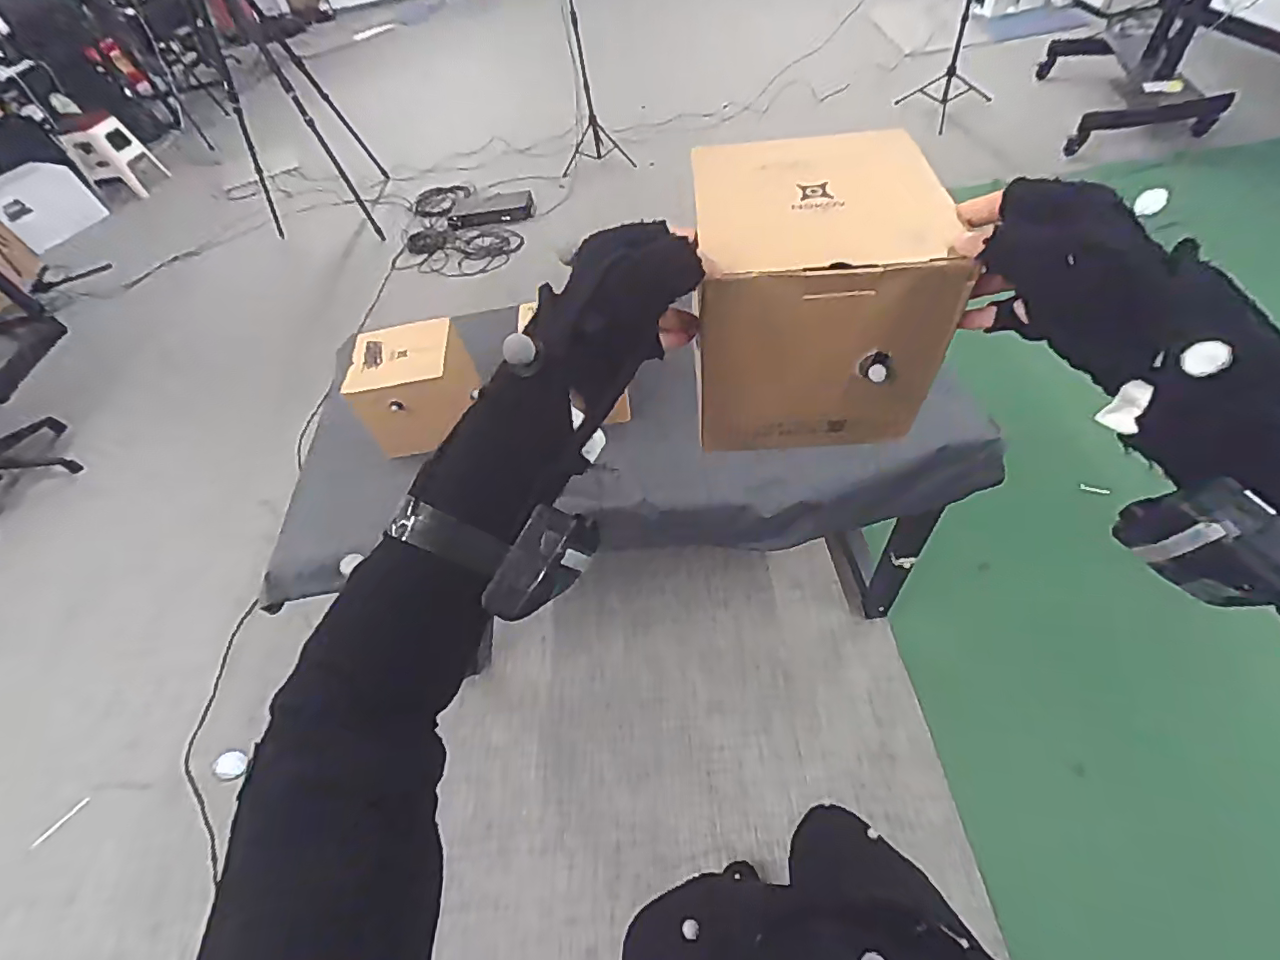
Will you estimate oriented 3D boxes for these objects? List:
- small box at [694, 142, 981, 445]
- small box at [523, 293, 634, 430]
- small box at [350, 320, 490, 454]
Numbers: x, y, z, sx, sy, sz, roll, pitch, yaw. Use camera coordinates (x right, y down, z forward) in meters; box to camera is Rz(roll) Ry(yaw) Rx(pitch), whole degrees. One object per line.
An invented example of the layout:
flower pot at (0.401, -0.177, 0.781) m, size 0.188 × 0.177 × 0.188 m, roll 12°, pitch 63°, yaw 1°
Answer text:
small box at (0.130, -0.140, 0.437) m, size 0.168 × 0.176 × 0.179 m, roll -2°, pitch 52°, yaw 4°
small box at (-0.106, -0.208, 0.988) m, size 0.168 × 0.176 × 0.179 m, roll -9°, pitch 53°, yaw 3°
small box at (-0.396, -0.167, 1.005) m, size 0.179 × 0.176 × 0.168 m, roll -10°, pitch 52°, yaw 1°
